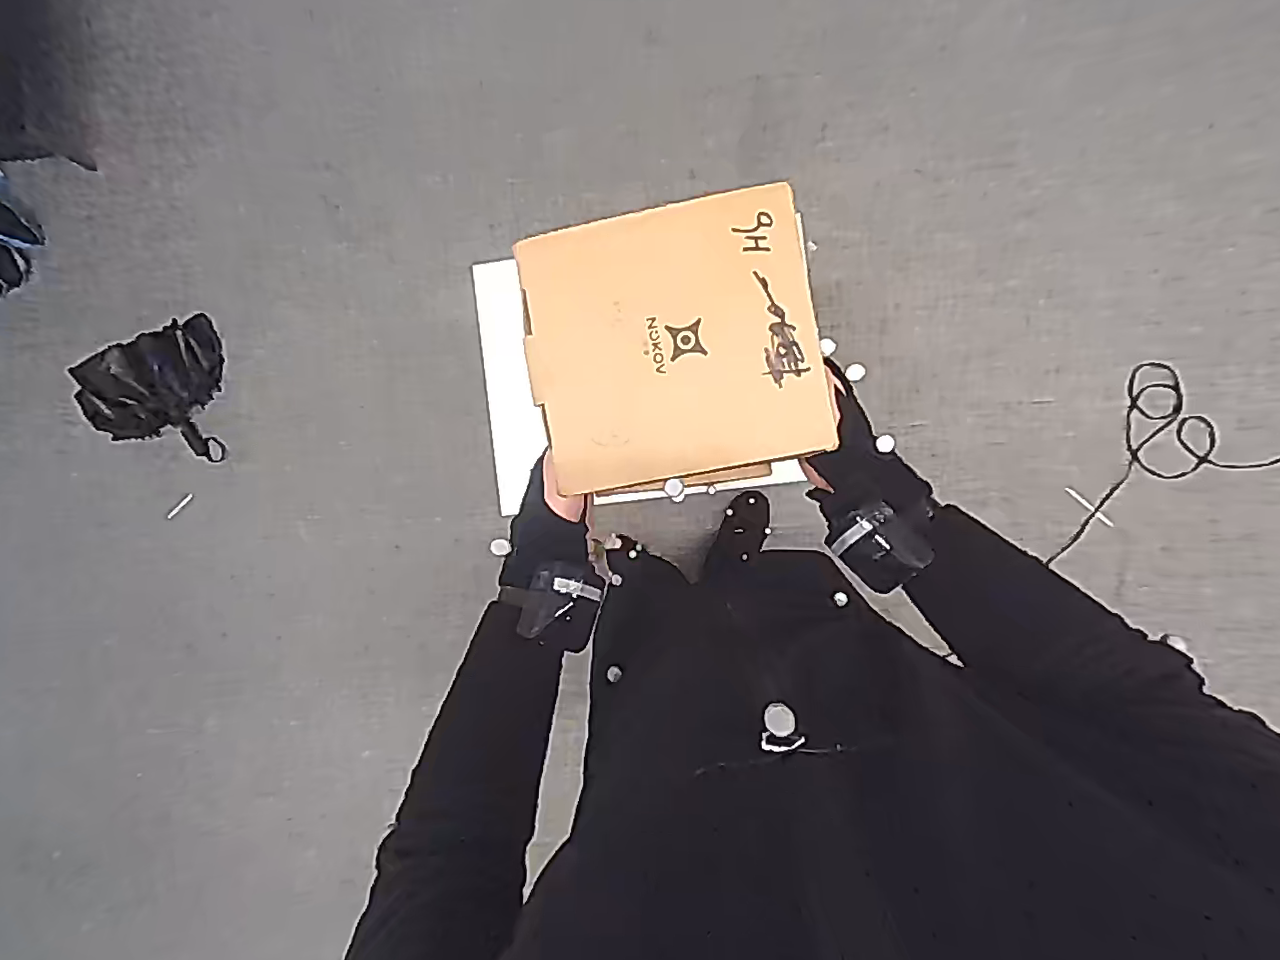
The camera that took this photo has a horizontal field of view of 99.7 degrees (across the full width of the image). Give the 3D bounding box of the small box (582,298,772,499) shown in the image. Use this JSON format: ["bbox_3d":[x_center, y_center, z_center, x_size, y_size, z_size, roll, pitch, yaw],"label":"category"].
[{"bbox_3d":[0.039,-0.073,0.580,0.168,0.176,0.179,-6,89,5],"label":"small box"}]
